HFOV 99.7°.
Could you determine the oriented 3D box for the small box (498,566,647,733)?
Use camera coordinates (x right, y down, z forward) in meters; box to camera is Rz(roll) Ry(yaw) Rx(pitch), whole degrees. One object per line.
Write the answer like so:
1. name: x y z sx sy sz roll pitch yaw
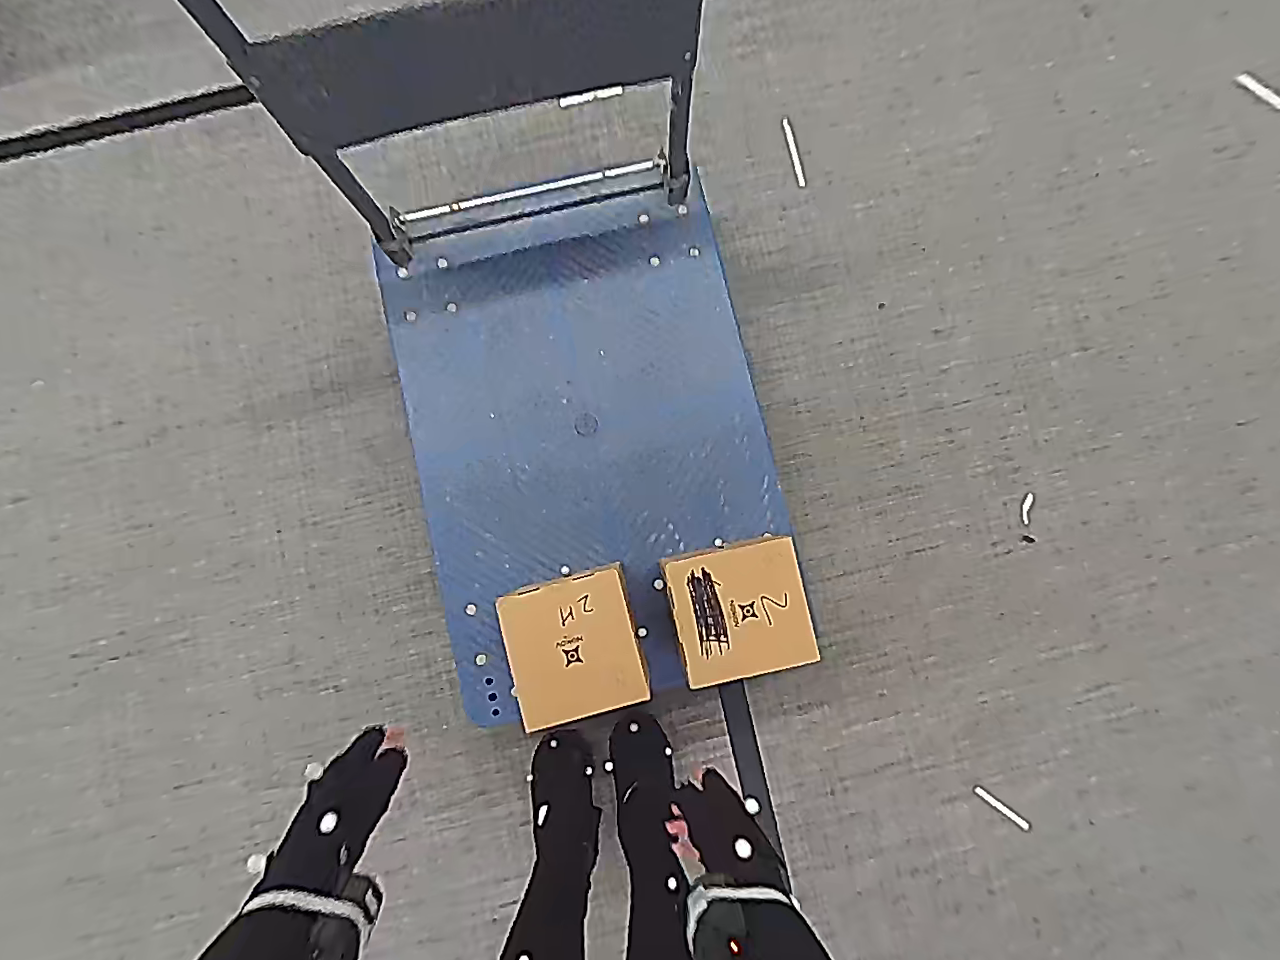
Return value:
1. small box: -0.086 0.229 0.777 0.168 0.176 0.179 -14 84 -2
